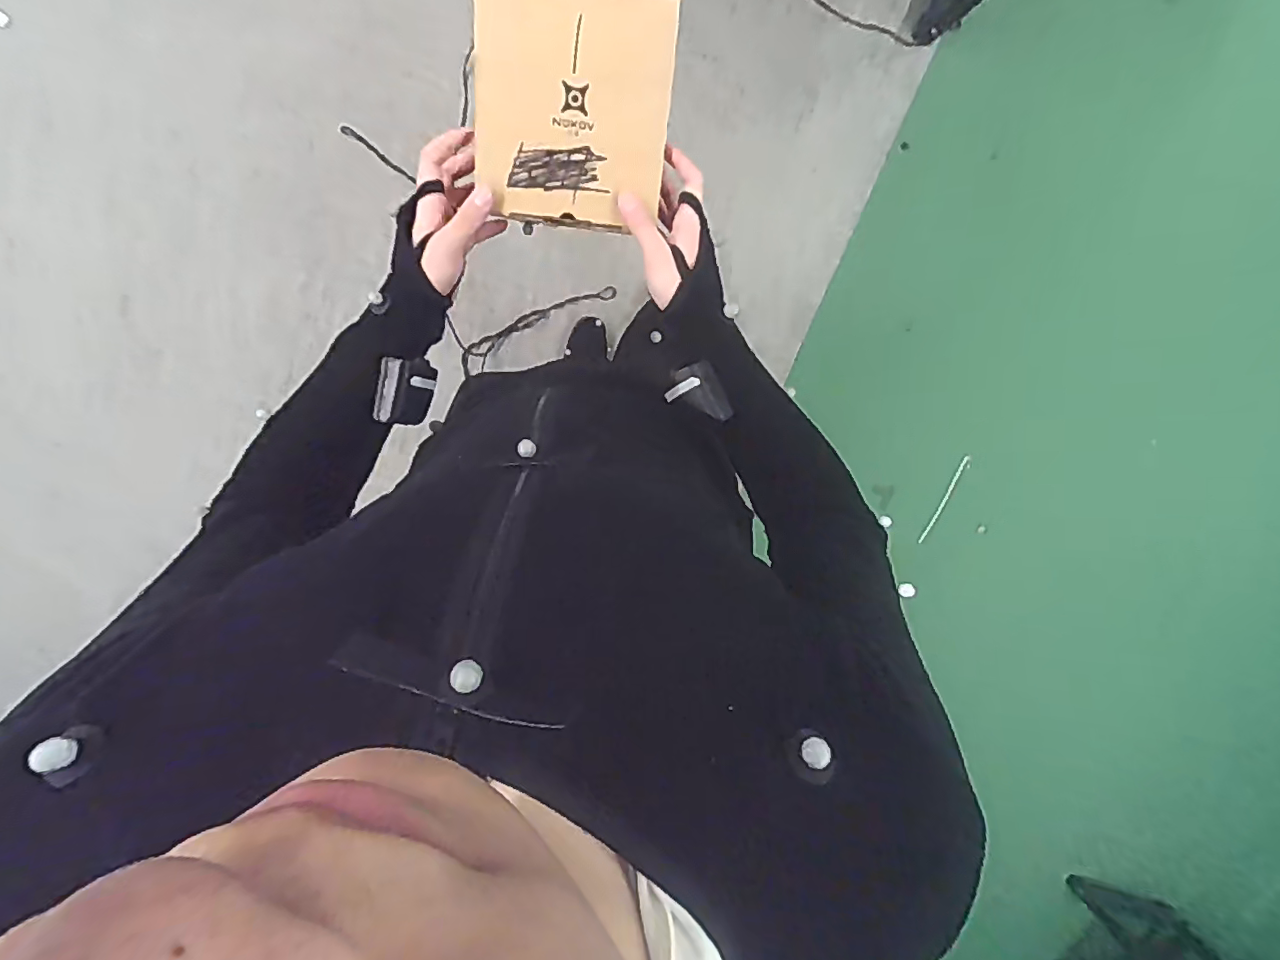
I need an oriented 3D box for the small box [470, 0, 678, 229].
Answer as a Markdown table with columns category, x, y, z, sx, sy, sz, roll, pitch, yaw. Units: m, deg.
| category | x | y | z | sx | sy | sz | roll | pitch | yaw |
| --- | --- | --- | --- | --- | --- | --- | --- | --- | --- |
| small box | -0.064 | -0.349 | 0.526 | 0.168 | 0.176 | 0.179 | 4 | 113 | -7 |
